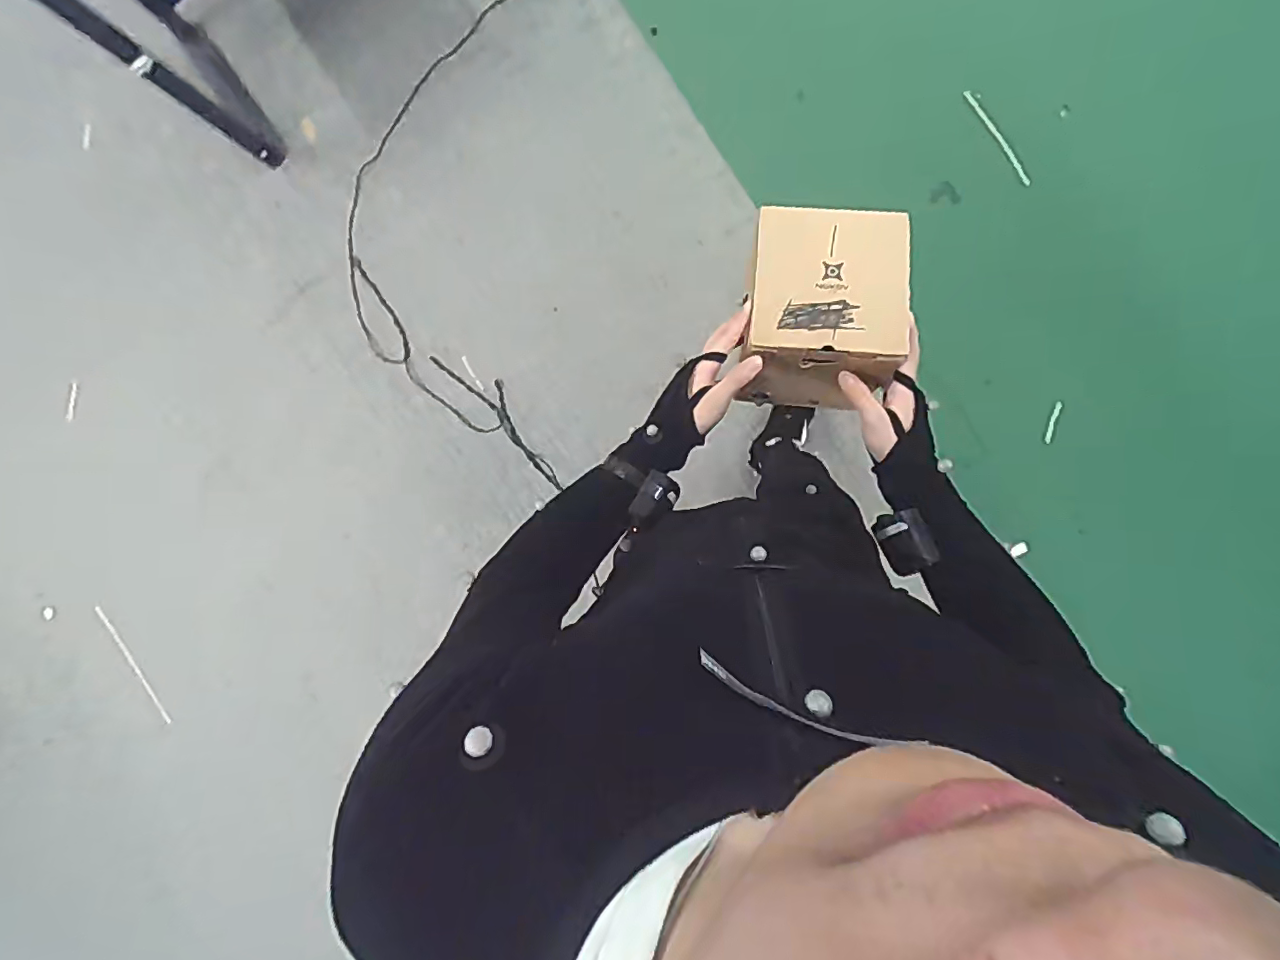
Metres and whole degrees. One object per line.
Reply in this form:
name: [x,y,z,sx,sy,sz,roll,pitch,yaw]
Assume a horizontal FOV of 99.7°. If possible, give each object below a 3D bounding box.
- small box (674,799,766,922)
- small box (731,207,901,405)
small box: [0.204,0.974,1.398,0.179,0.176,0.168,-27,88,5]
small box: [0.205,-0.203,0.667,0.168,0.176,0.179,5,78,5]
